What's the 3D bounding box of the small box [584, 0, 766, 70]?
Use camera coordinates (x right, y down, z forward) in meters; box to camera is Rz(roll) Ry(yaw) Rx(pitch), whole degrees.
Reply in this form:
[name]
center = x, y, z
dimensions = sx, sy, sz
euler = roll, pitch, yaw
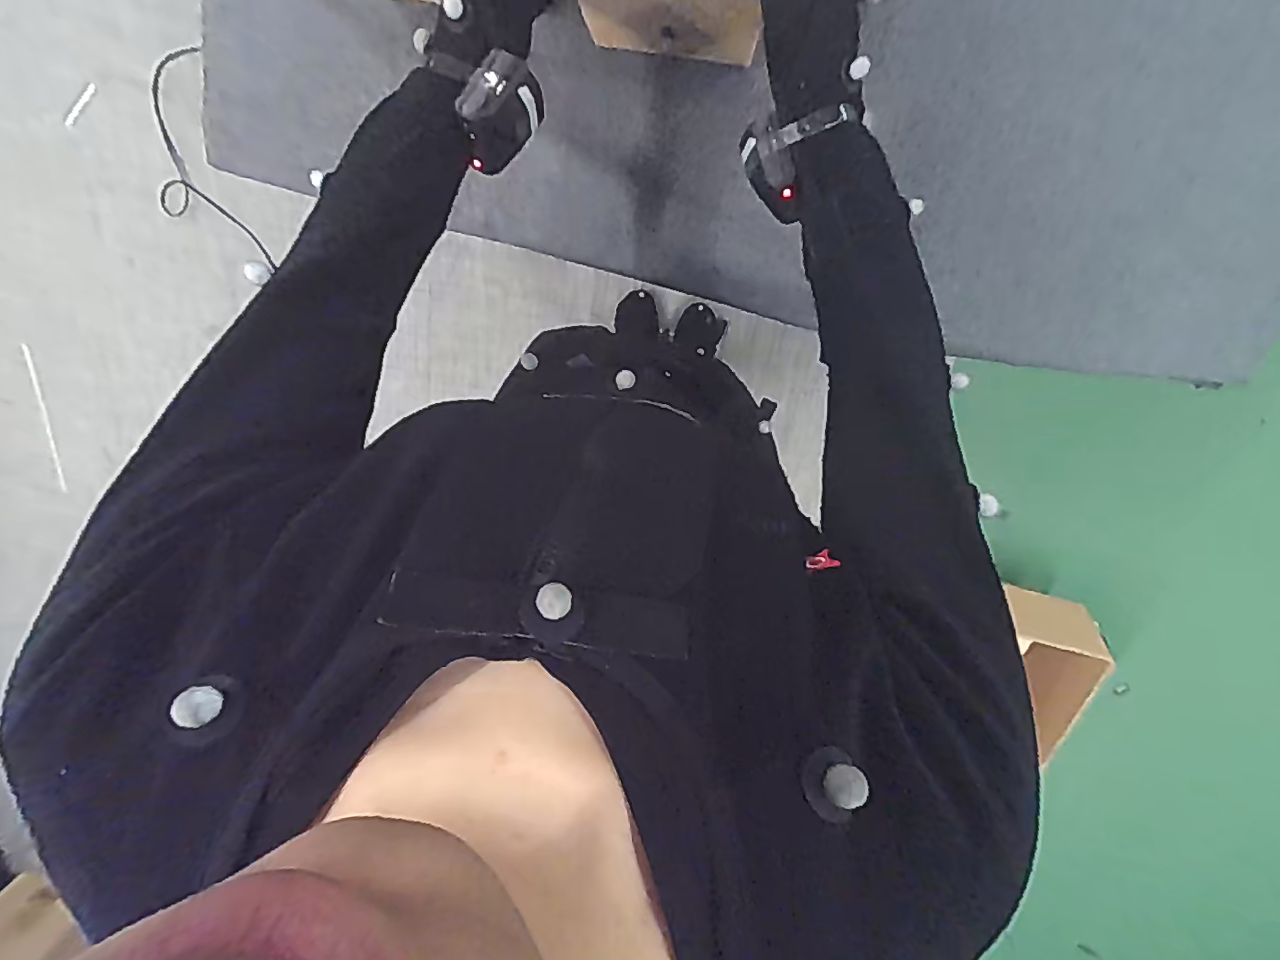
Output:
[small box]
center = 0.037, -0.492, 0.460
dimensions = 0.168, 0.176, 0.179
euler = 10, 112, 2
